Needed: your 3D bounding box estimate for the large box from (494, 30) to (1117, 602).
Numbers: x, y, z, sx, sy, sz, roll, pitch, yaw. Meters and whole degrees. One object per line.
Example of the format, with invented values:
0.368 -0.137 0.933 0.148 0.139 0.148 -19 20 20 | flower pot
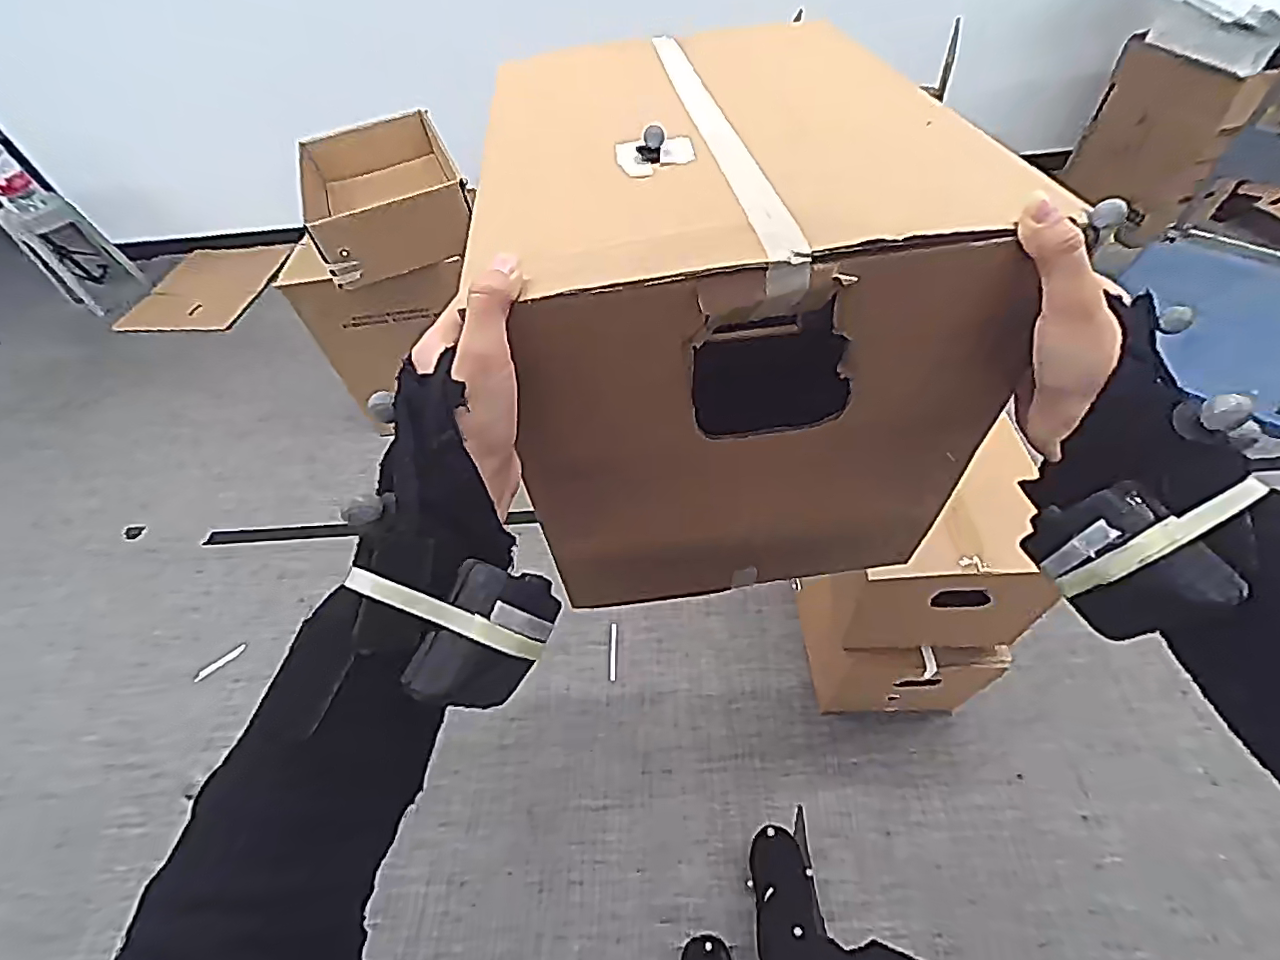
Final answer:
0.064 -0.154 0.495 0.320 0.320 0.408 -9 51 -1 | large box
